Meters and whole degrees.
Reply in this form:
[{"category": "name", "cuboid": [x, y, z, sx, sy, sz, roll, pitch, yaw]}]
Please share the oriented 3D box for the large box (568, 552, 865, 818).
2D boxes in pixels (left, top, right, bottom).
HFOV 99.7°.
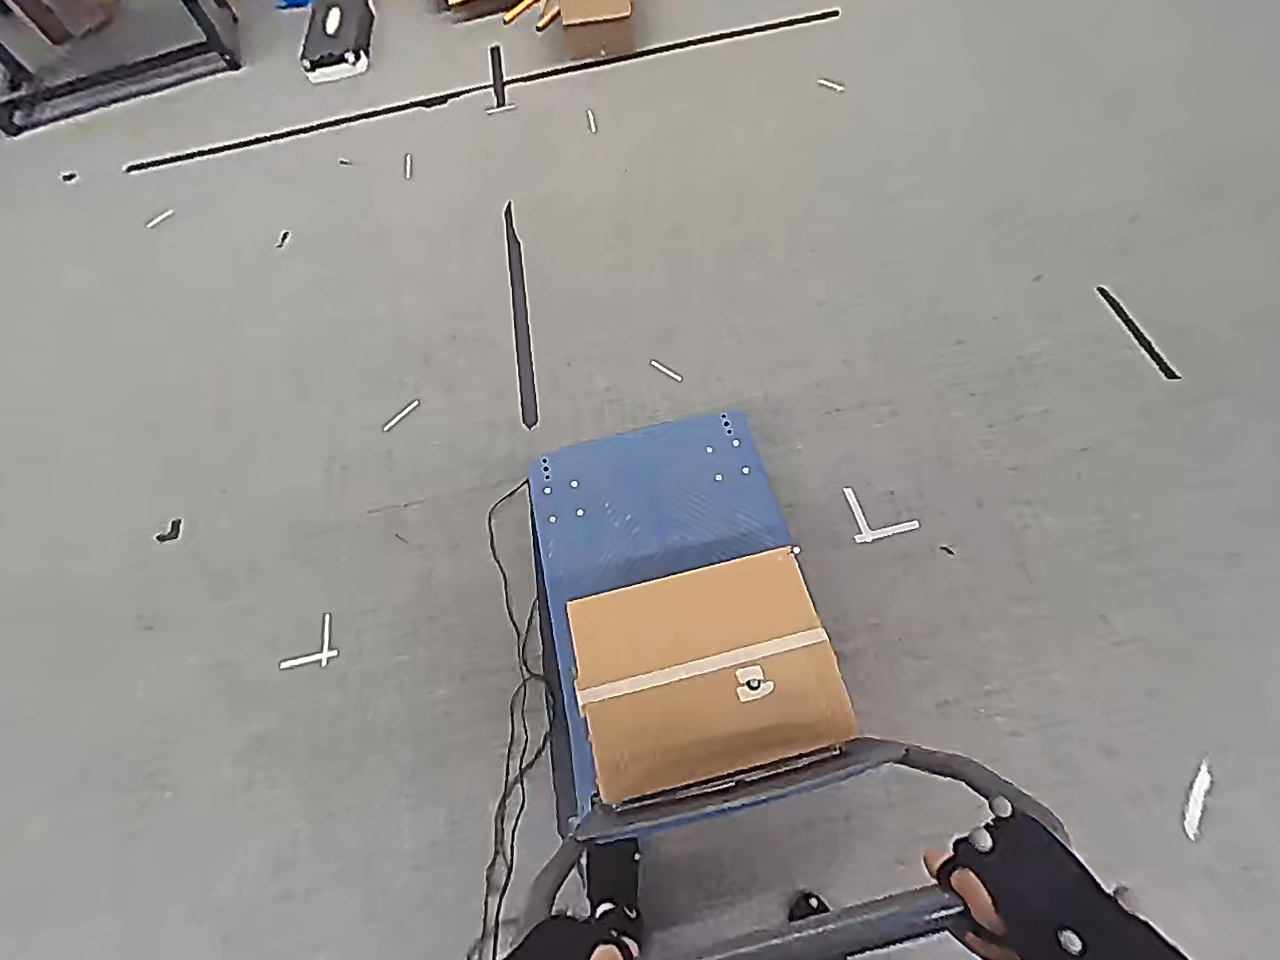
[{"category": "large box", "cuboid": [0.115, 0.370, 0.983, 0.408, 0.320, 0.320, -14, 65, -3]}]
